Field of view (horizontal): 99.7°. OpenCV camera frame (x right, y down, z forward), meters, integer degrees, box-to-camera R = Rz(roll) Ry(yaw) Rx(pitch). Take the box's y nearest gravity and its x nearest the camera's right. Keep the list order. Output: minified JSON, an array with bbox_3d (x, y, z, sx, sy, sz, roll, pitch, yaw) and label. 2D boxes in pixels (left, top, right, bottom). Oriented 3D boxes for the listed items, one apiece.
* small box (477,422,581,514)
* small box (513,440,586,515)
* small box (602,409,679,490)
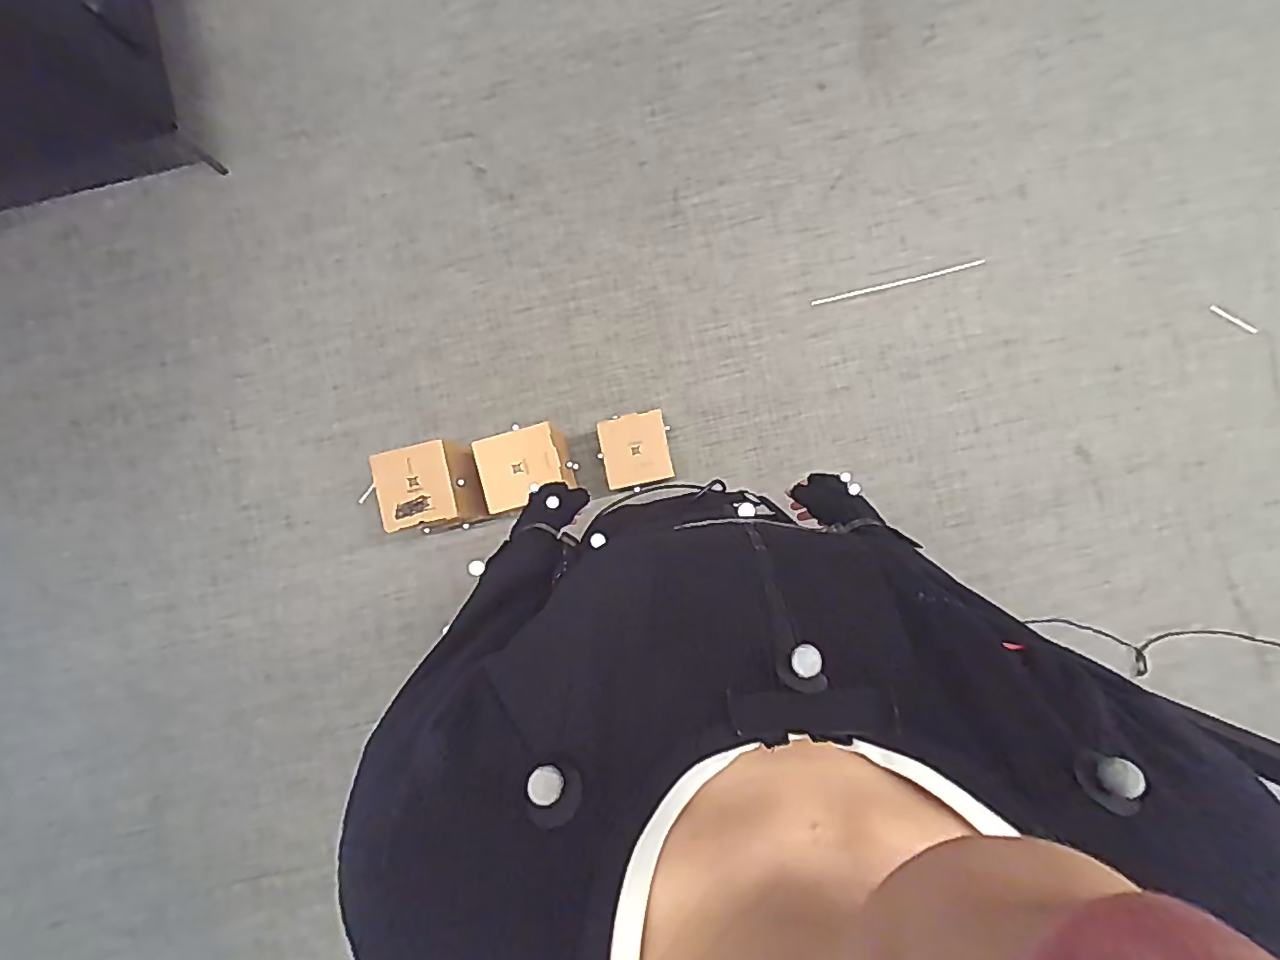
[{"bbox_3d":[-0.248,-0.022,1.245,0.179,0.176,0.168,-16,88,0],"label":"small box"},{"bbox_3d":[-0.247,-0.011,1.407,0.168,0.176,0.179,-15,87,2],"label":"small box"},{"bbox_3d":[0.002,-0.073,1.405,0.168,0.176,0.179,-12,88,1],"label":"small box"}]
